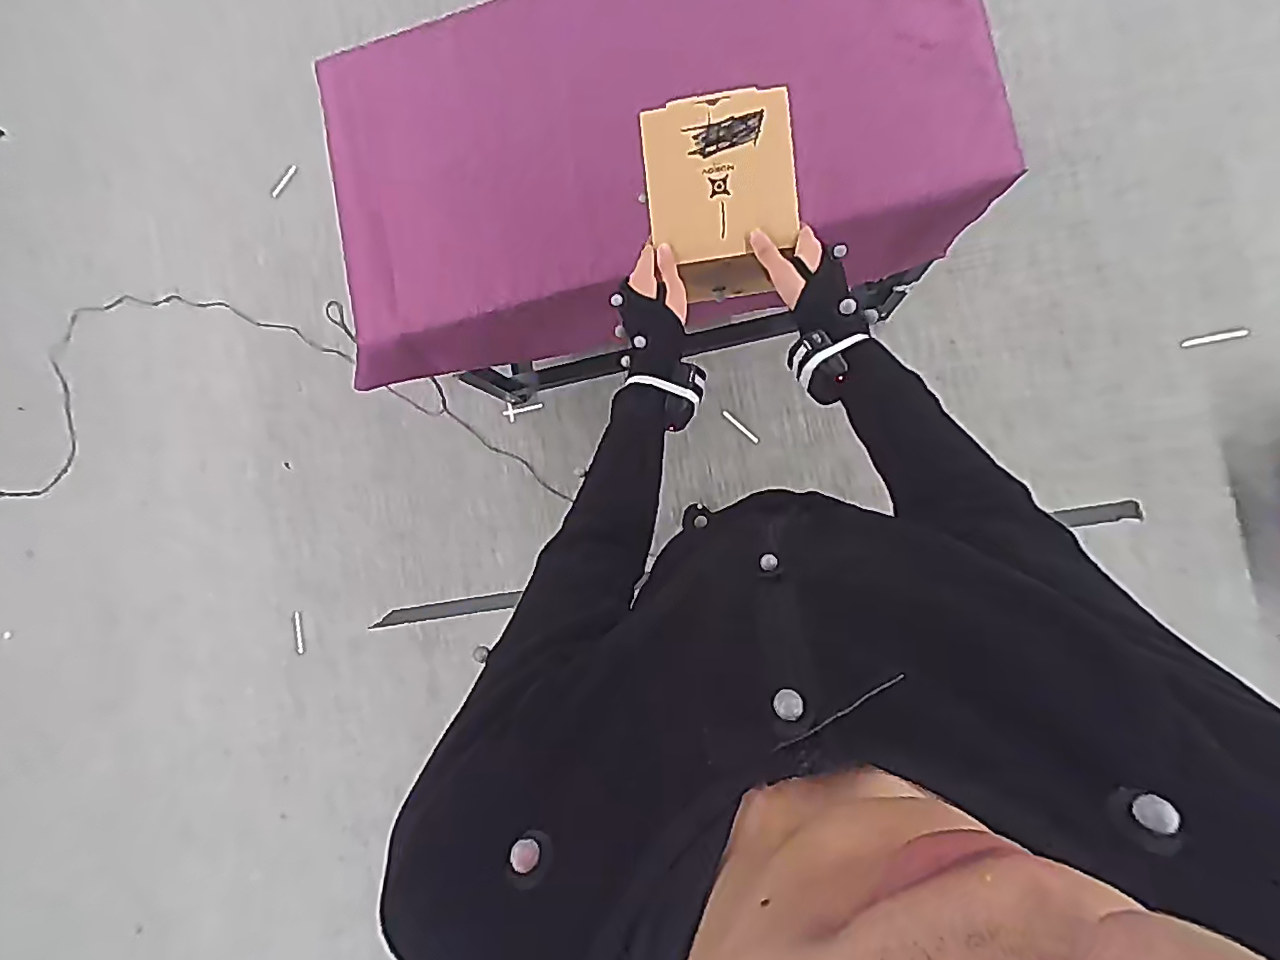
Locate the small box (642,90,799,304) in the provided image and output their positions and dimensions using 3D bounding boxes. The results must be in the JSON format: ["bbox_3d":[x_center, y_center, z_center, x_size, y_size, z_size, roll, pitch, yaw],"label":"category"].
[{"bbox_3d":[0.098,-0.343,0.689,0.168,0.176,0.179,-6,92,7],"label":"small box"}]
